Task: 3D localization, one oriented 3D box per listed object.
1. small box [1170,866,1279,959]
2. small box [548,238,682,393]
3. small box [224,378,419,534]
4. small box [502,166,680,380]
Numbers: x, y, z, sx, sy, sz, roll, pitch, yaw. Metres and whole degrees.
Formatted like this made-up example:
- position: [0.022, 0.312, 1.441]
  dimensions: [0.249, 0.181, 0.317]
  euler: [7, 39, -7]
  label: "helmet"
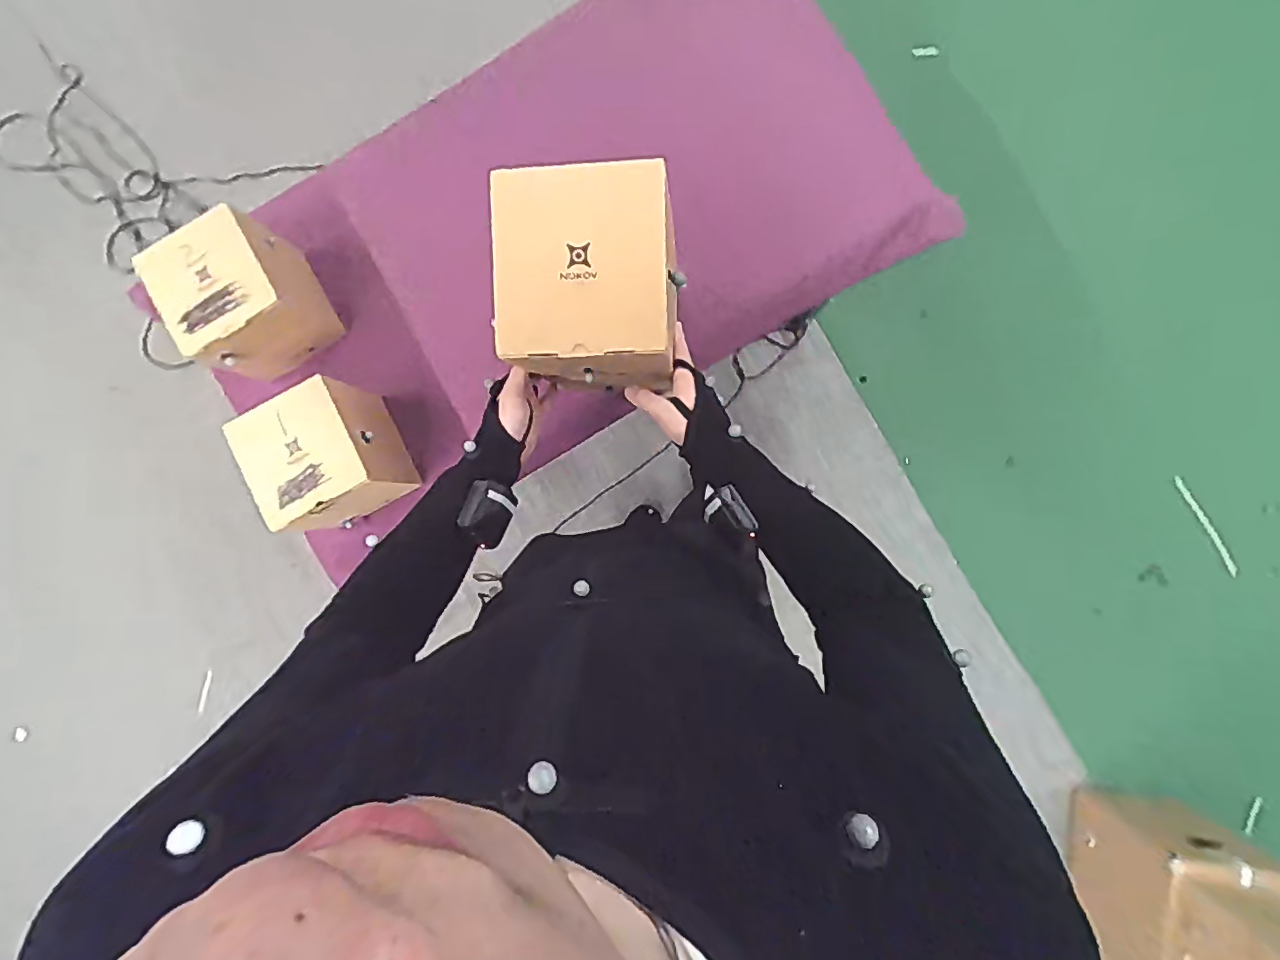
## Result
- position: [1.316, 0.974, 1.164]
  dimensions: [0.179, 0.176, 0.168]
  euler: [5, 89, 4]
  label: "small box"
- position: [-0.028, -0.216, 0.744]
  dimensions: [0.168, 0.176, 0.179]
  euler: [1, 95, 5]
  label: "small box"
- position: [-0.483, -0.033, 0.849]
  dimensions: [0.168, 0.176, 0.179]
  euler: [-28, 86, 2]
  label: "small box"
- position: [-0.042, -0.206, 0.582]
  dimensions: [0.168, 0.176, 0.179]
  euler: [0, 95, 5]
  label: "small box"
